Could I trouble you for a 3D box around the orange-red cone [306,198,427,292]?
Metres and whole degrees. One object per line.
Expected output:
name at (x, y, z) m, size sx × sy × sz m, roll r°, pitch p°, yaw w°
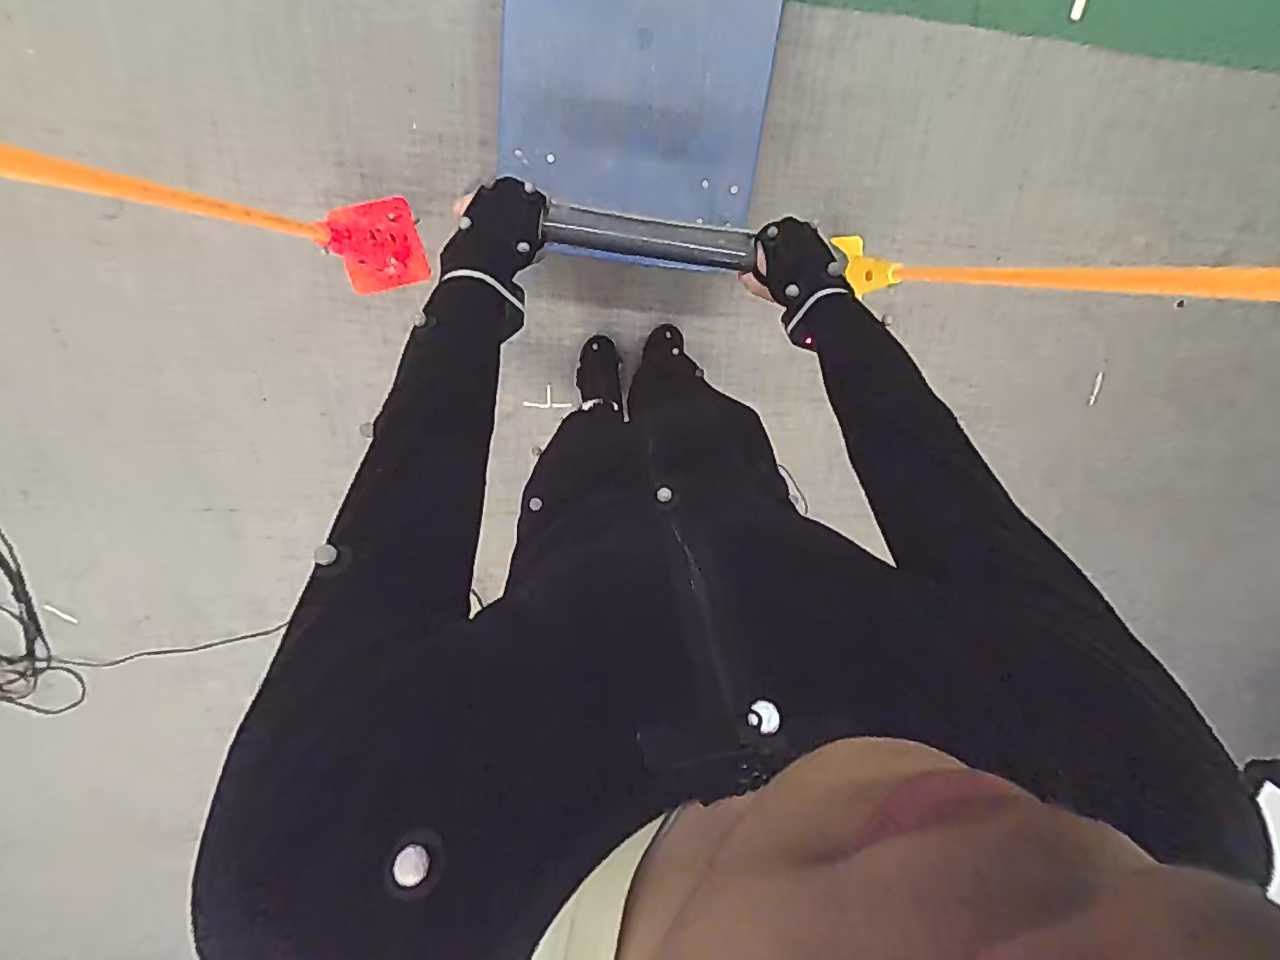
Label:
orange-red cone at (-0.635, -0.530, 1.191) m, size 0.199 × 0.360 × 0.198 m, roll -12°, pitch 110°, yaw -1°
